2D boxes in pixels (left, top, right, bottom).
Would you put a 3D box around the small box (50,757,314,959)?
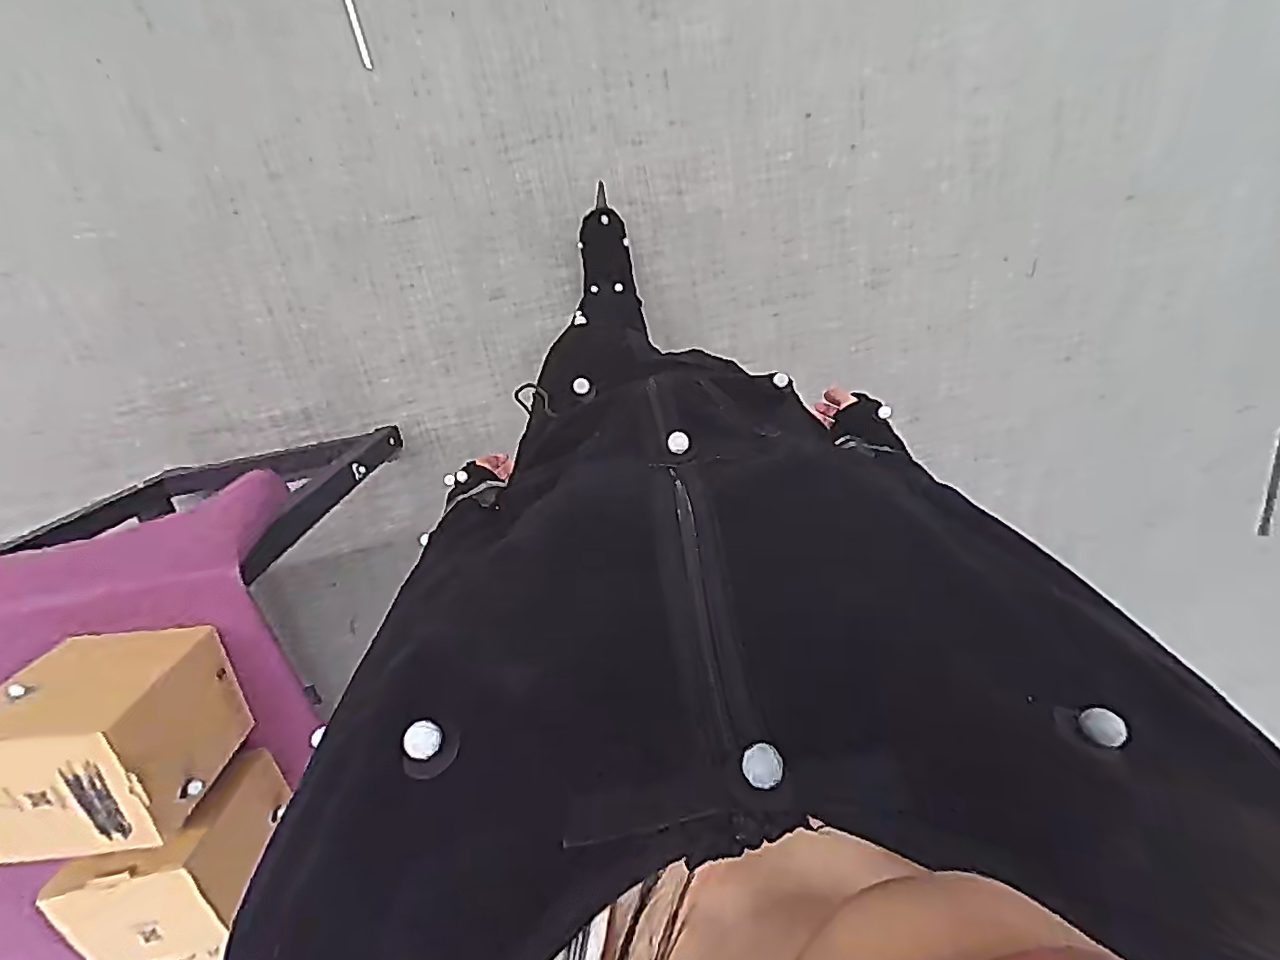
[{"bbox_3d":[-0.568,0.490,0.703,0.168,0.176,0.179,-11,111,-2],"label":"small box"}]
